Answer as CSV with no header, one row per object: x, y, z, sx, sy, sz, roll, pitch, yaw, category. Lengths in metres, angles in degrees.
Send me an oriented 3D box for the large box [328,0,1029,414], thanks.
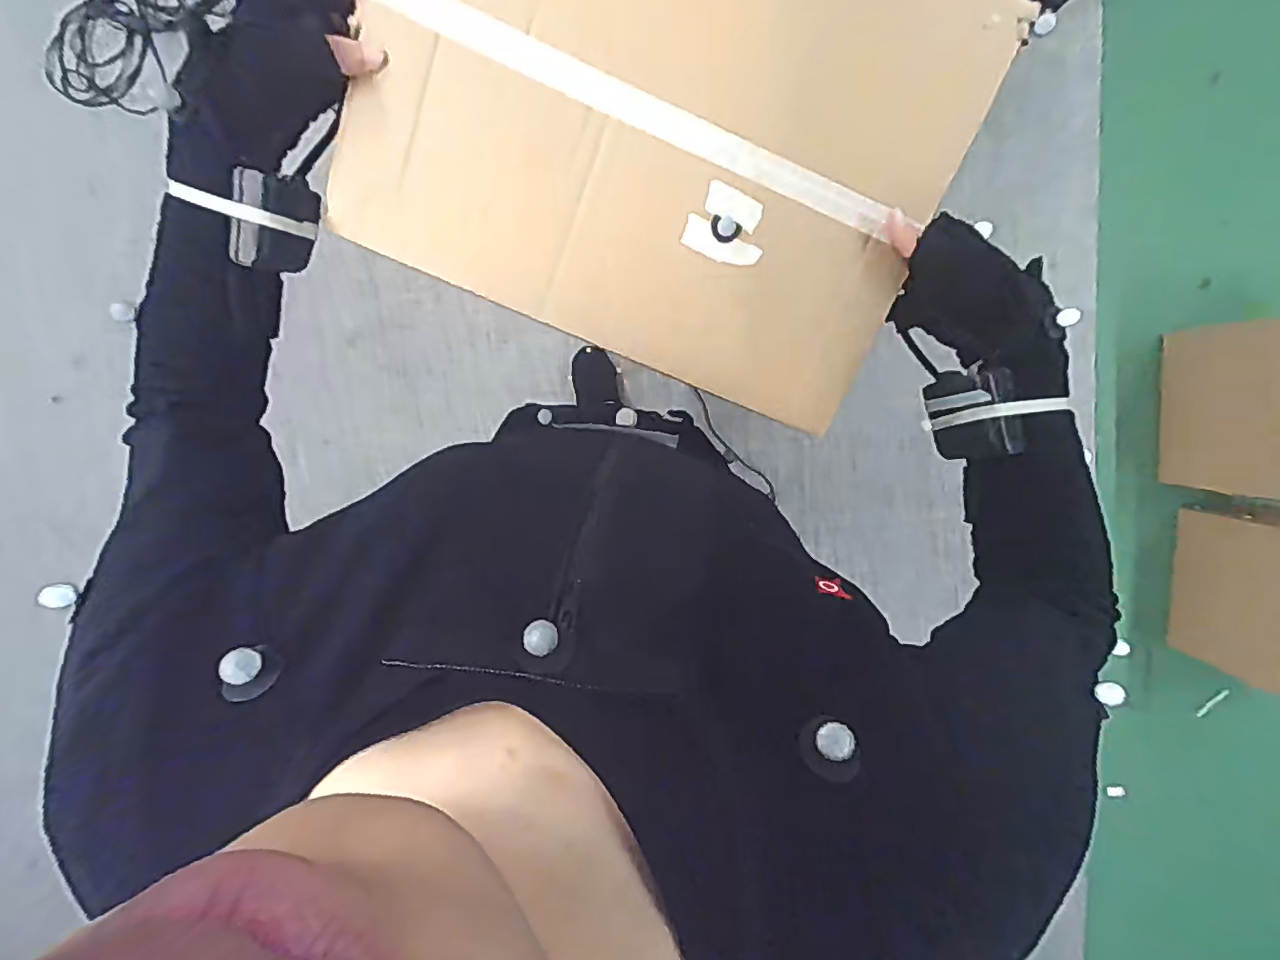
0.012,-0.296,0.507,0.408,0.320,0.320,21,106,-8,large box
